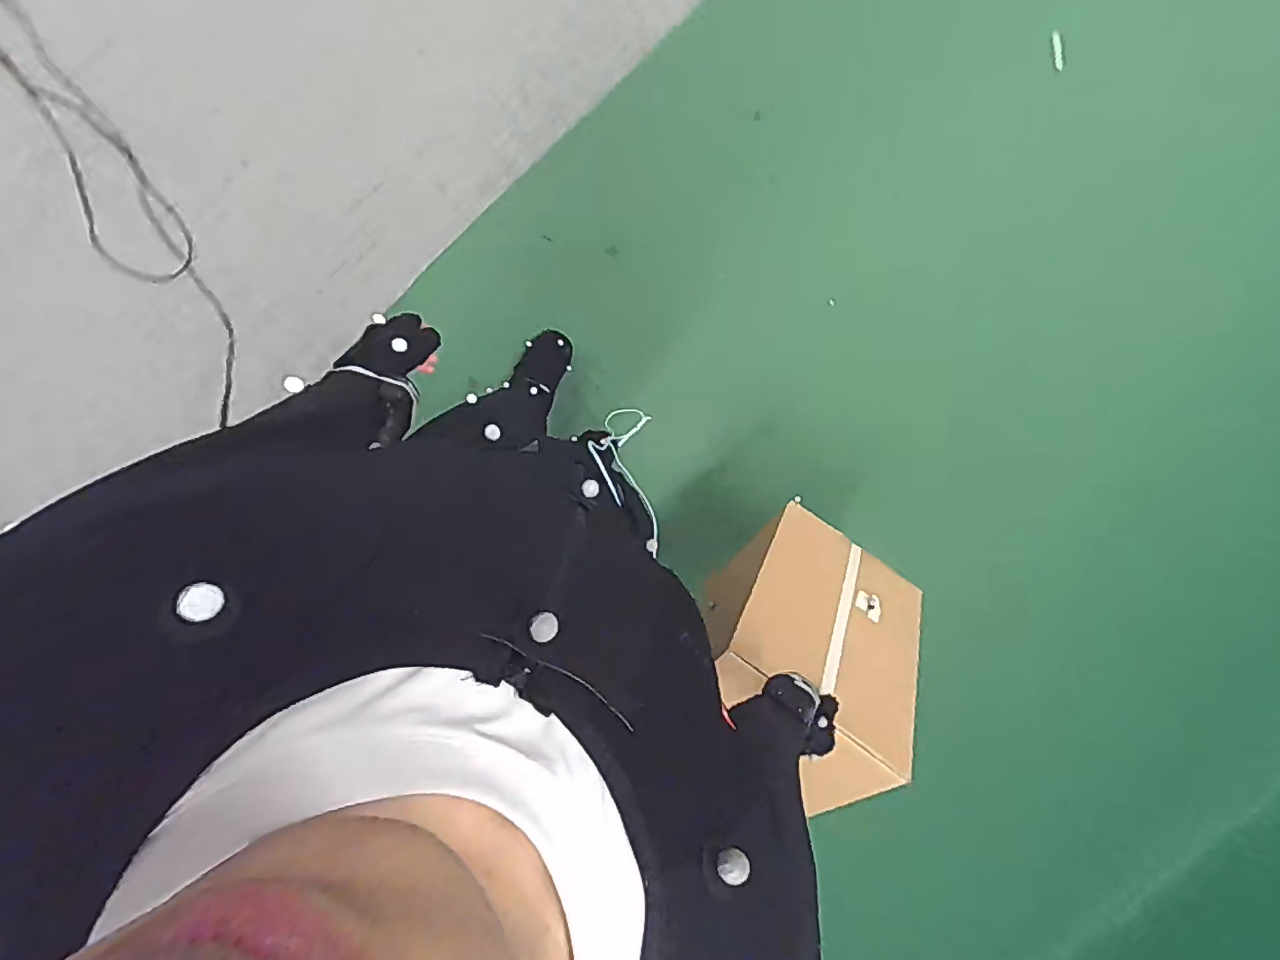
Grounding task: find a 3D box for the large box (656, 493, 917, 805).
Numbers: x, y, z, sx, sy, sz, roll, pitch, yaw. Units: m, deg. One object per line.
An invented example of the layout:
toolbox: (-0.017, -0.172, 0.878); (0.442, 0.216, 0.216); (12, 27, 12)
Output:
large box: (0.284, 0.309, 1.029); (0.320, 0.408, 0.320); (36, 132, 3)
